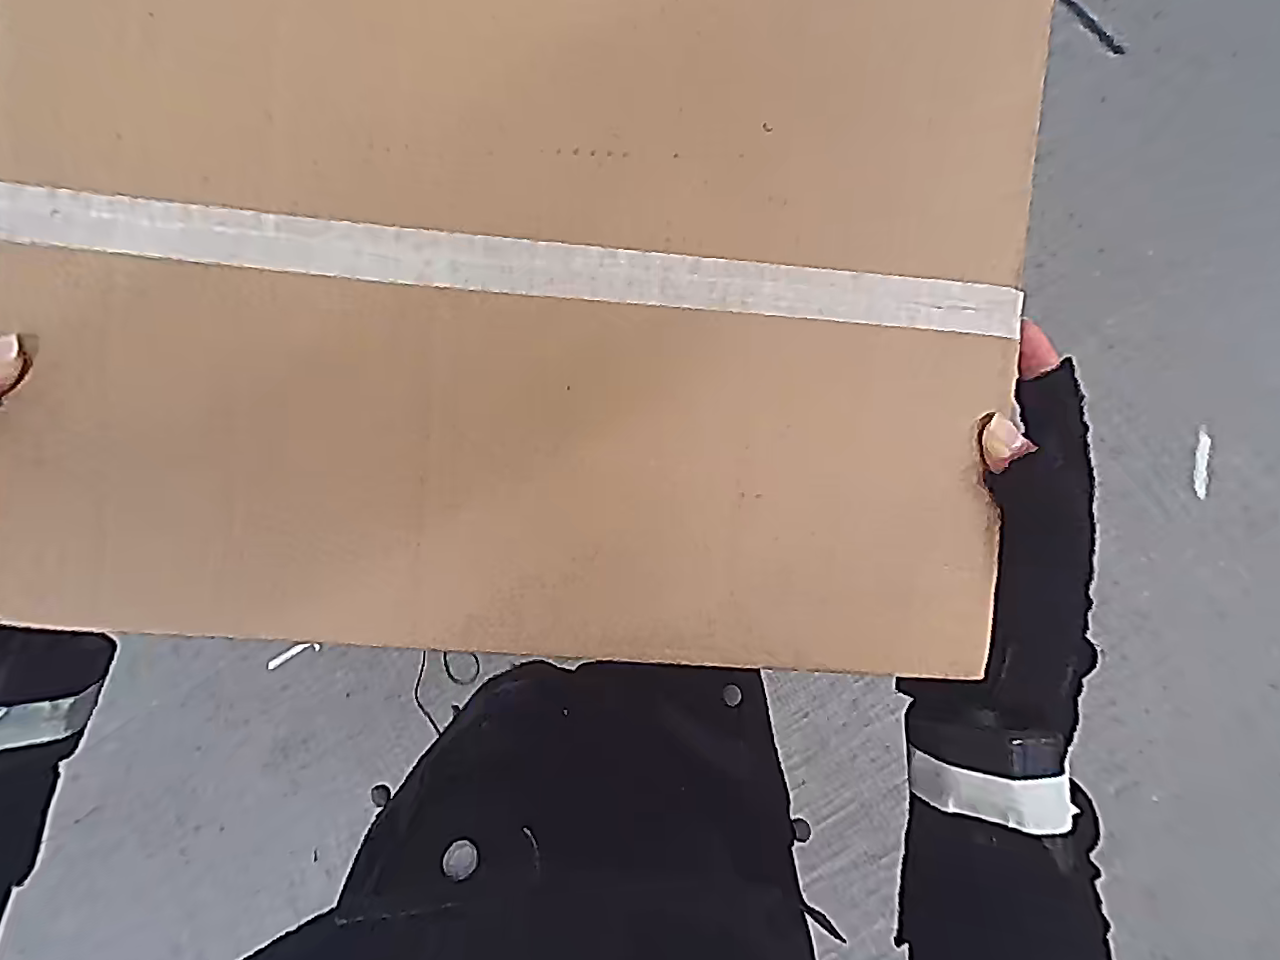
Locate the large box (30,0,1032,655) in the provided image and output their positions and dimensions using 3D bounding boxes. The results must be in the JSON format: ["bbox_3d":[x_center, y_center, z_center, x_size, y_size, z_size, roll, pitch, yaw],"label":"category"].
[{"bbox_3d":[-0.046,-0.094,0.377,0.408,0.320,0.320,5,91,-4],"label":"large box"}]
